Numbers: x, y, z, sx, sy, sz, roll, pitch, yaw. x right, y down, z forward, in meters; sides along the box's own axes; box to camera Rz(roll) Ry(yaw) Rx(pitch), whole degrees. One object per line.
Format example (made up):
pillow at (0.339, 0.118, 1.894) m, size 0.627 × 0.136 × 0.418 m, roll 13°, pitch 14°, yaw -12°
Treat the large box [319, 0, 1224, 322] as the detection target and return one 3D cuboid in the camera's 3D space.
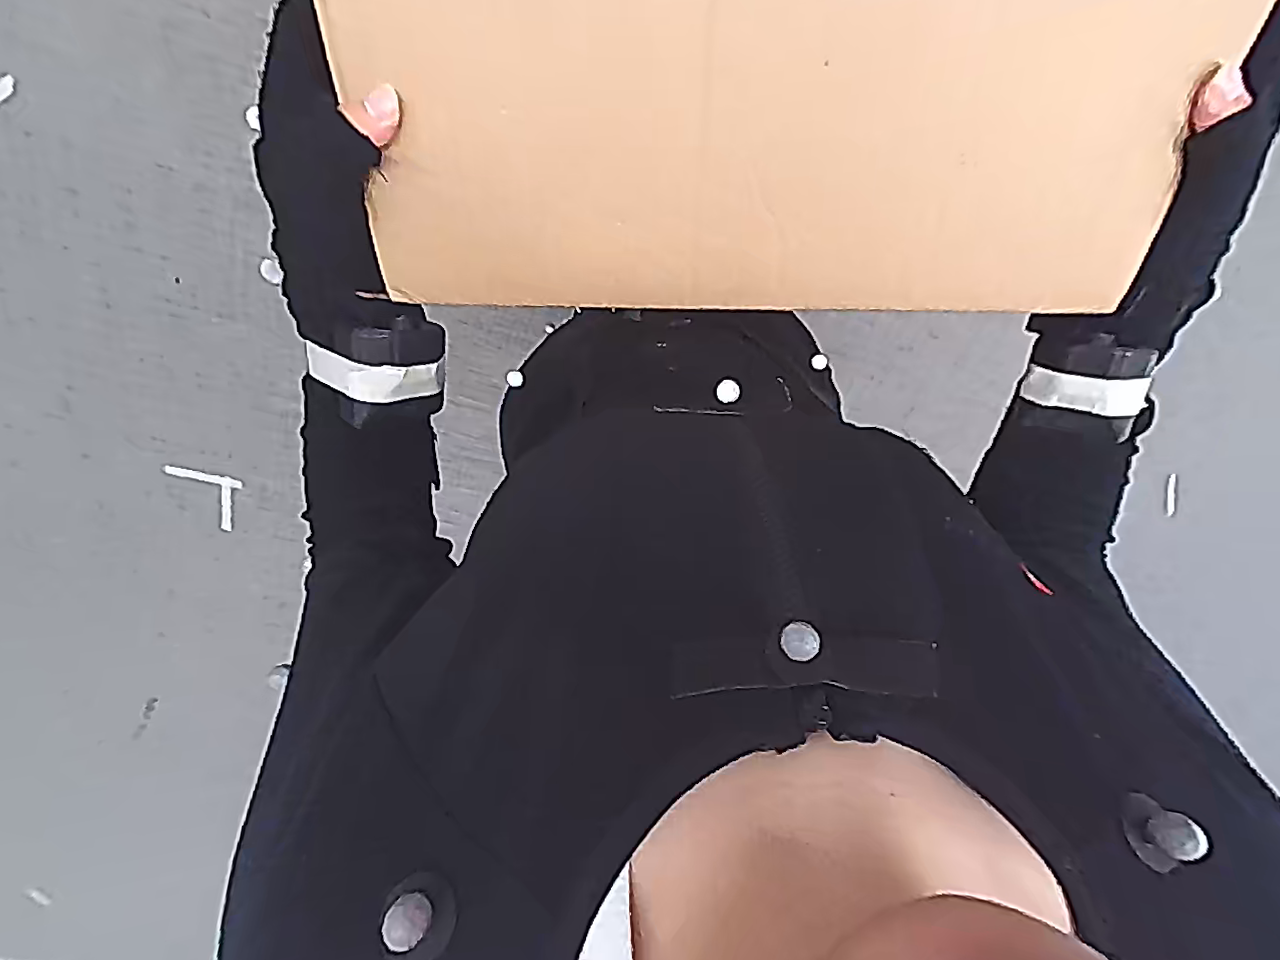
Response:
large box at (0.059, -0.306, 0.348) m, size 0.408 × 0.320 × 0.320 m, roll 0°, pitch 124°, yaw -1°
